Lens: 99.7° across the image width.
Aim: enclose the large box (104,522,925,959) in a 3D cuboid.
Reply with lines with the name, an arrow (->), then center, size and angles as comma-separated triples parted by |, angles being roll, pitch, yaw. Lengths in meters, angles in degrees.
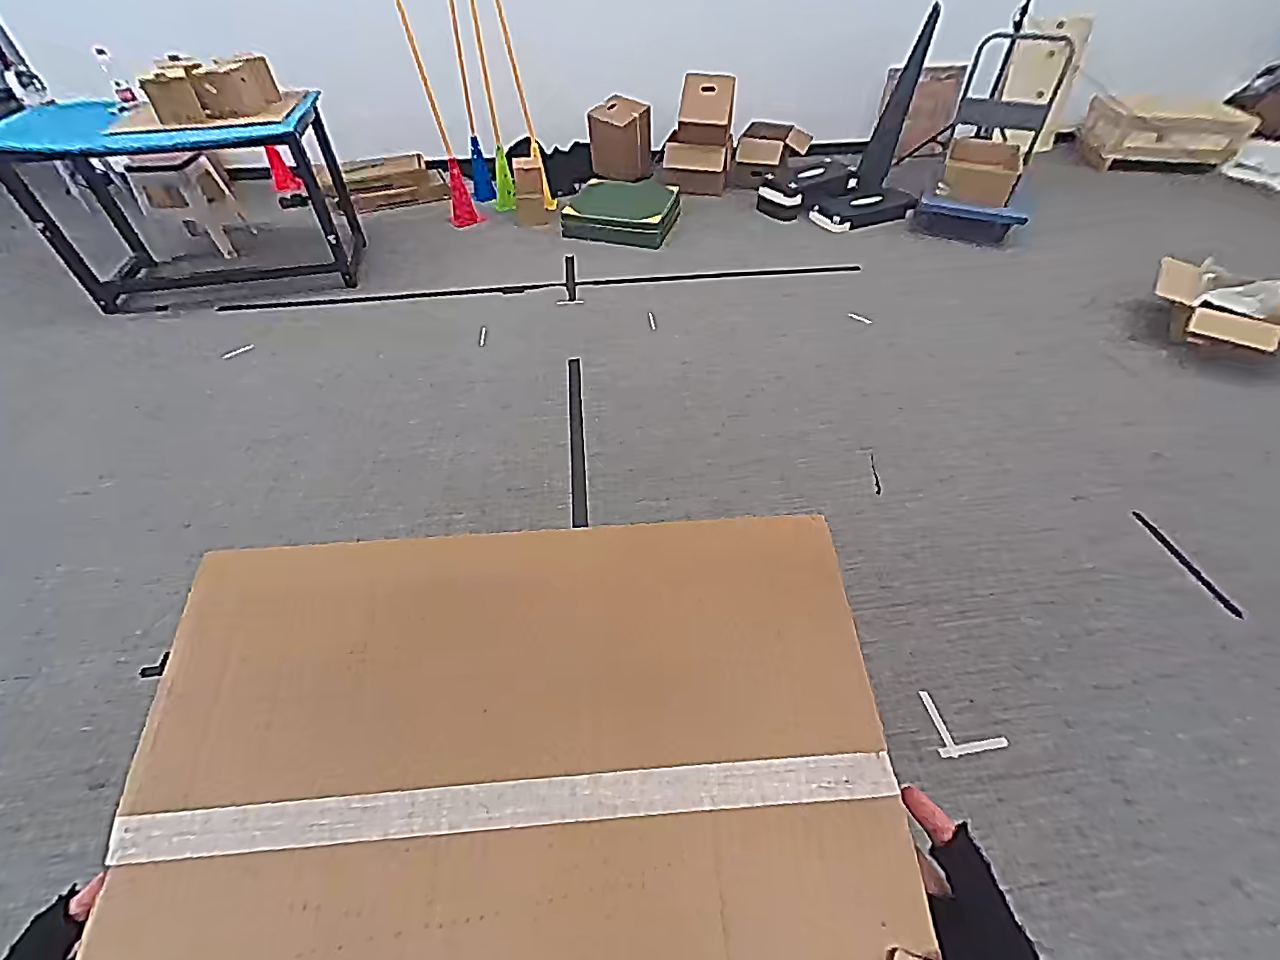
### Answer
large box -> -0.066, 0.248, 0.424 | 0.408, 0.320, 0.320 | -3, 62, -2
